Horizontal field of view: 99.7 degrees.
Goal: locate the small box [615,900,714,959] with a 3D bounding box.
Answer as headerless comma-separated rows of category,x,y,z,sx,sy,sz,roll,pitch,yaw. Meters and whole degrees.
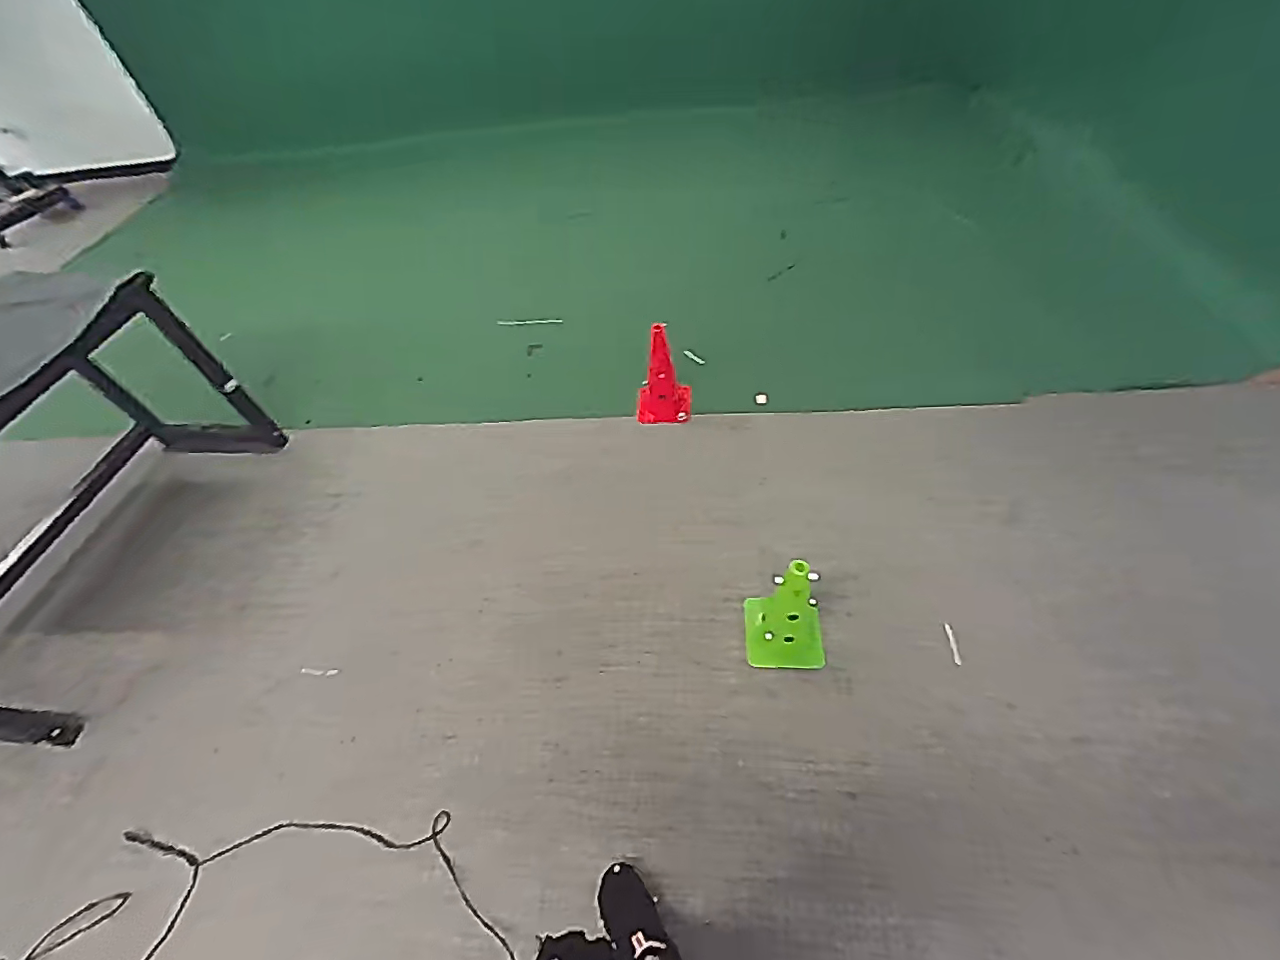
small box,0.048,0.942,1.051,0.168,0.176,0.179,-2,54,-12

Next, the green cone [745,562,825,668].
green cone,0.371,0.304,1.334,0.200,0.368,0.202,-2,52,6
